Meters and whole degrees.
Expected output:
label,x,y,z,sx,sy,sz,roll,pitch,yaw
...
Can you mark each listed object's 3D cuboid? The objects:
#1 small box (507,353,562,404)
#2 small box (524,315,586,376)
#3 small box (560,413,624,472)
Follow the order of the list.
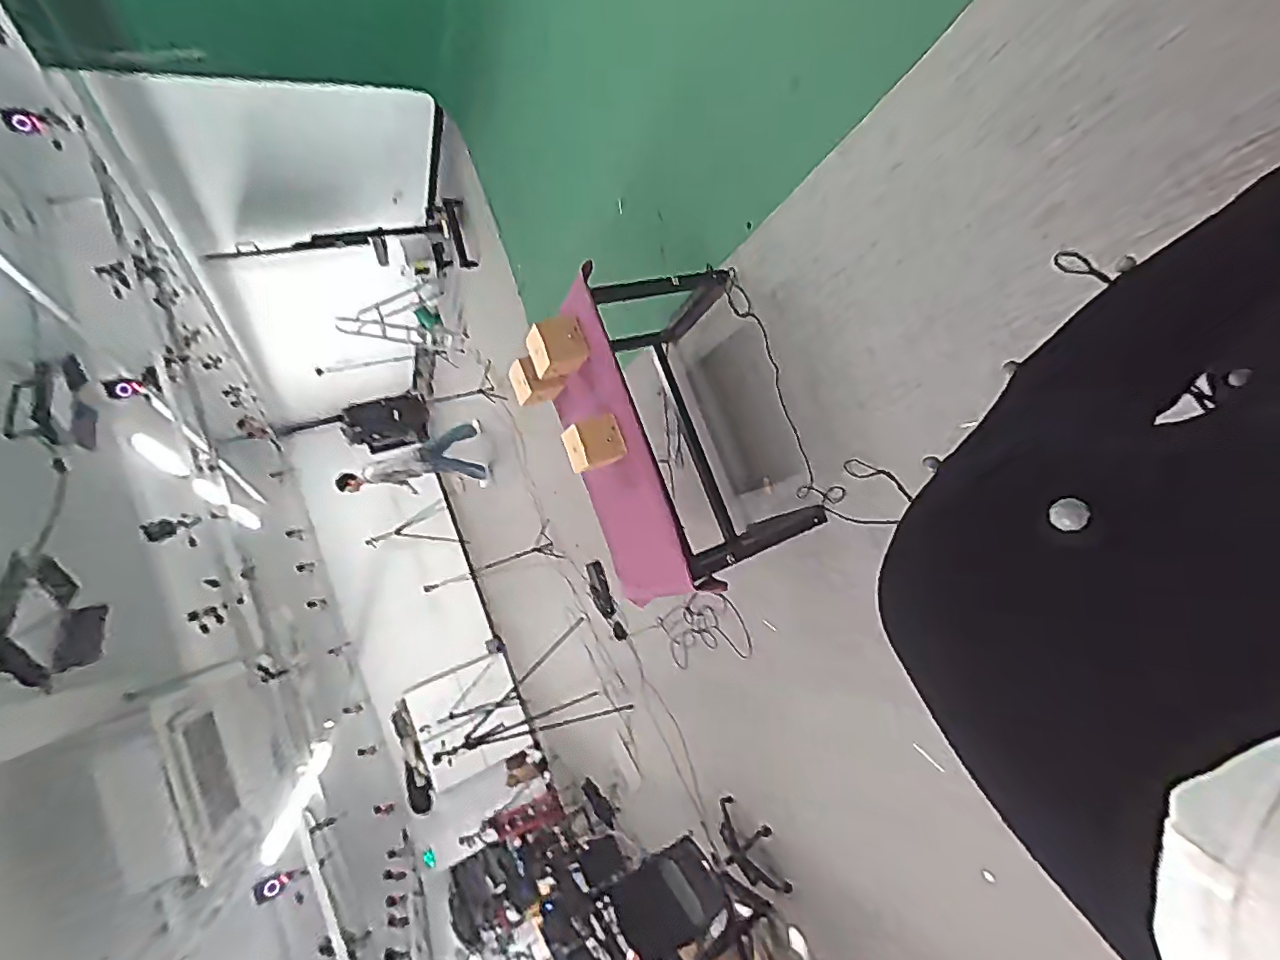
label,x,y,z,sx,sy,sz,roll,pitch,yaw
small box,-0.463,-0.452,2.376,0.179,0.176,0.168,-27,84,60
small box,-0.327,-0.521,2.093,0.179,0.176,0.168,-24,86,63
small box,-0.183,-0.144,2.063,0.179,0.176,0.168,-25,83,63
